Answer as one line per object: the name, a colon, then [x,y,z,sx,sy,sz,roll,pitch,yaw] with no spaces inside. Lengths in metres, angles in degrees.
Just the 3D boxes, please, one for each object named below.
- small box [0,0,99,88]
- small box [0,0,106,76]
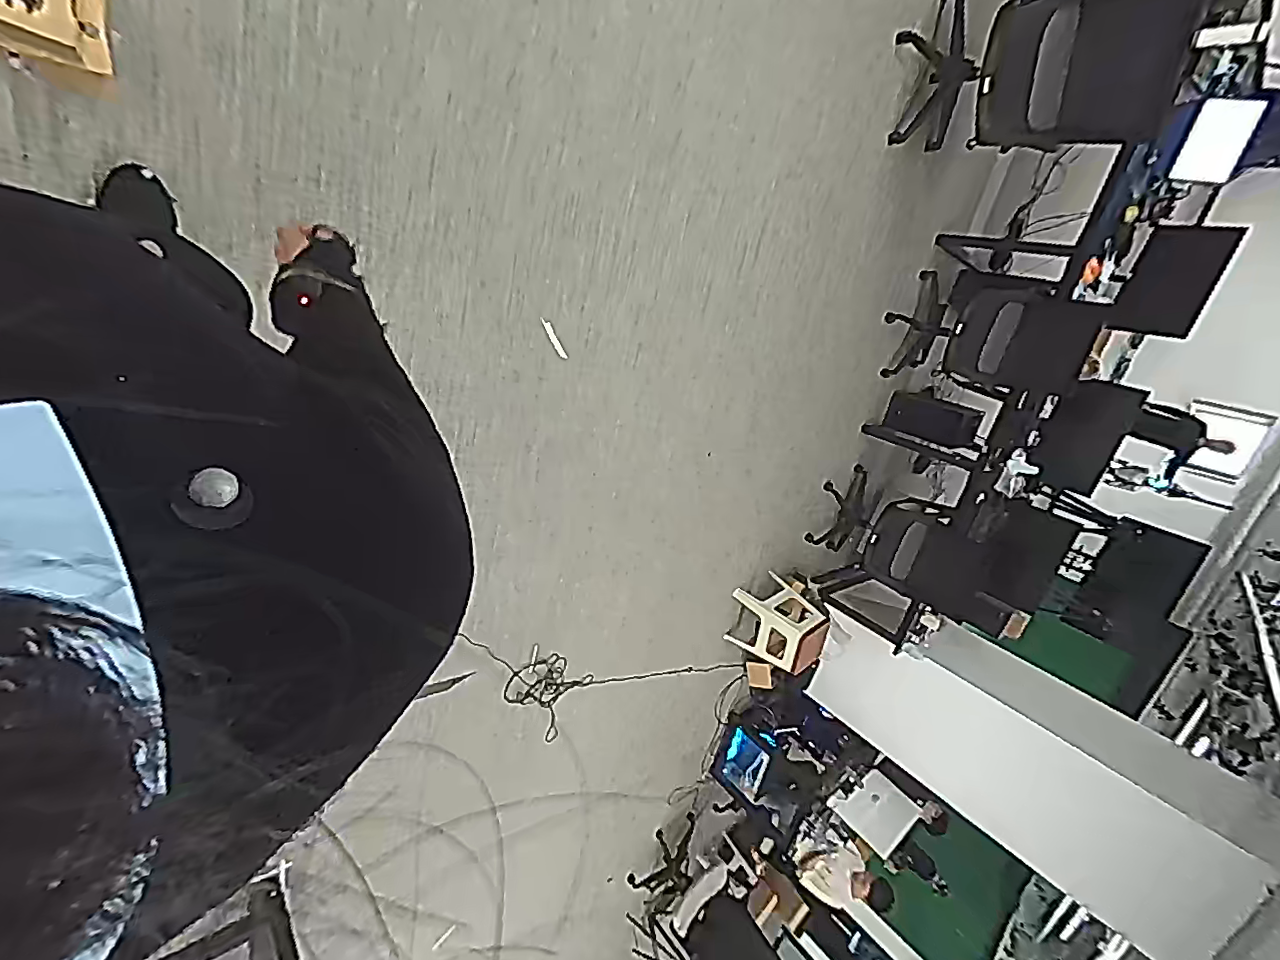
small box: [-0.929,-0.723,0.808,0.168,0.176,0.179,1,112,-46]
small box: [-0.830,-0.651,0.702,0.179,0.176,0.168,-9,119,-41]
